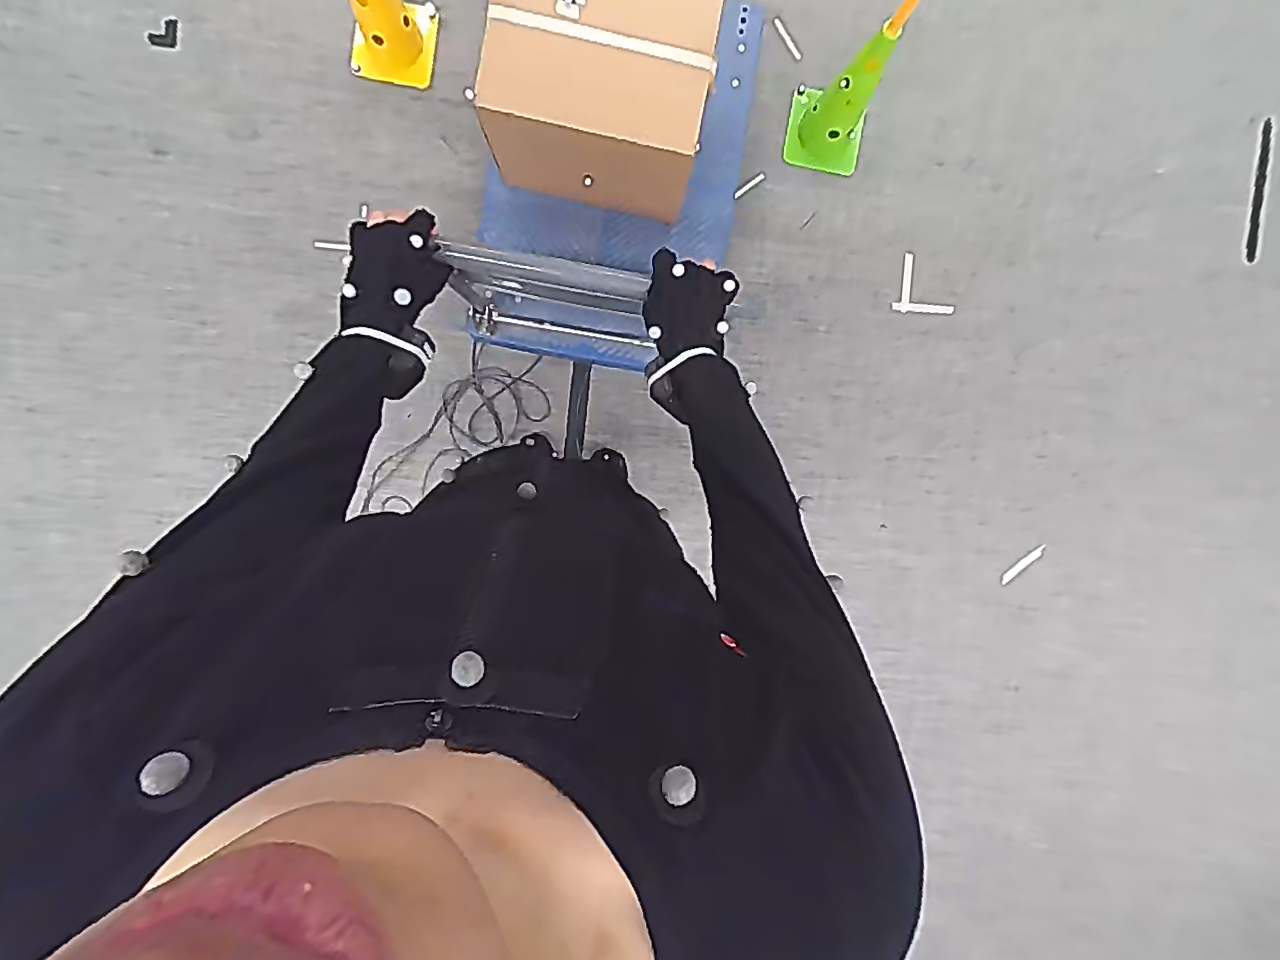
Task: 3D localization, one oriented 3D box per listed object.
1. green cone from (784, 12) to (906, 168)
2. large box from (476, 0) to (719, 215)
[{"bbox_3d":[0.505,-0.939,1.275,0.202,0.368,0.200,10,93,-5],"label":"green cone"},{"bbox_3d":[-0.077,-0.792,1.112,0.408,0.320,0.320,11,93,-3],"label":"large box"}]
